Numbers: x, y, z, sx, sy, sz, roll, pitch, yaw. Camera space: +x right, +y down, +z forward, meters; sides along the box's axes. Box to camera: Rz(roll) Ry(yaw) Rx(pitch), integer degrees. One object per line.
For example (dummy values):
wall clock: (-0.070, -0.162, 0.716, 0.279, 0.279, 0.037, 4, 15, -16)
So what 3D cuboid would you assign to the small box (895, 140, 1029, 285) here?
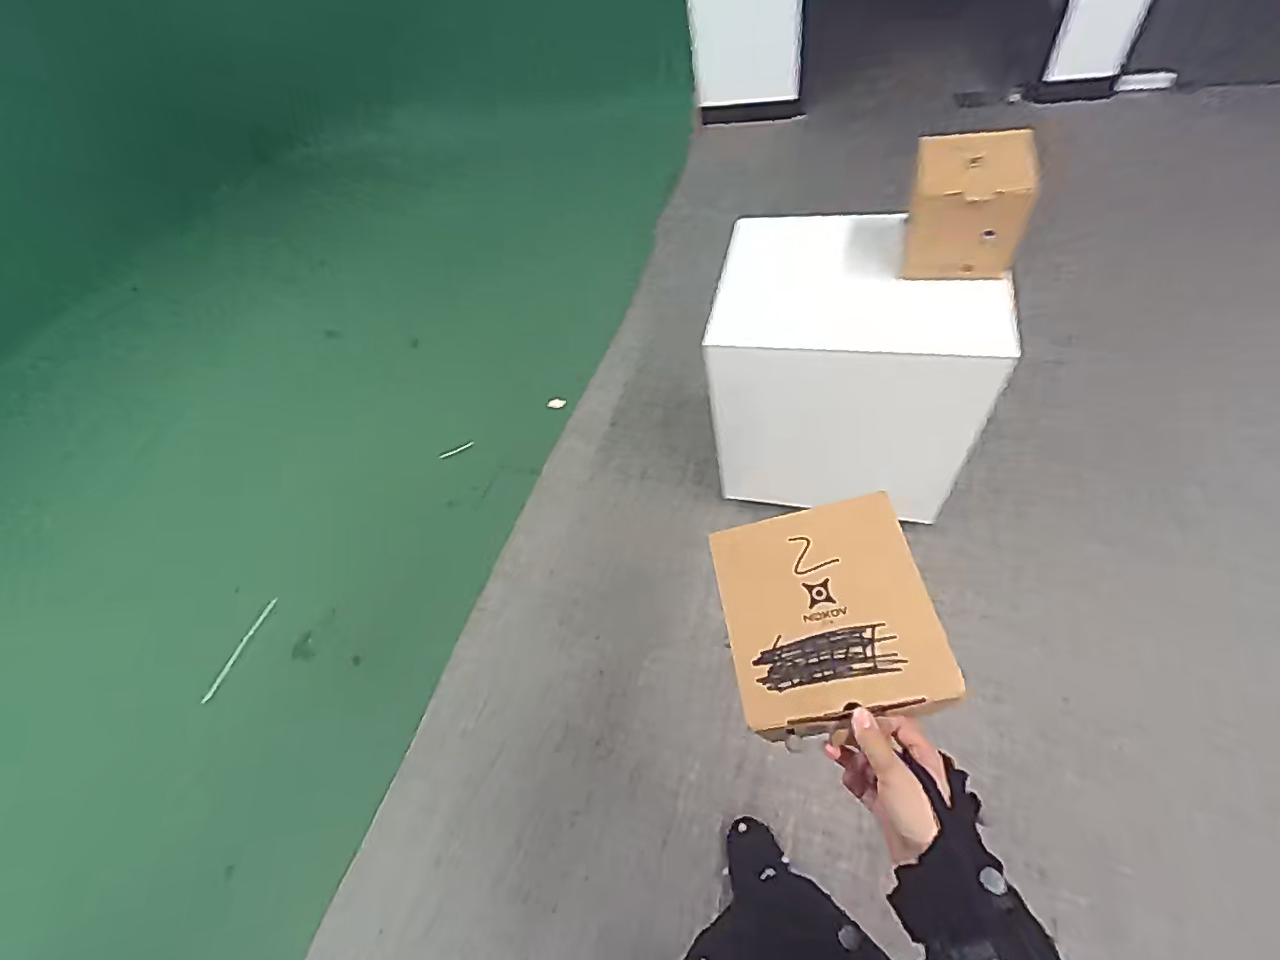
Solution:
small box: (0.557, -0.465, 0.956, 0.168, 0.176, 0.179, 7, 58, 17)
